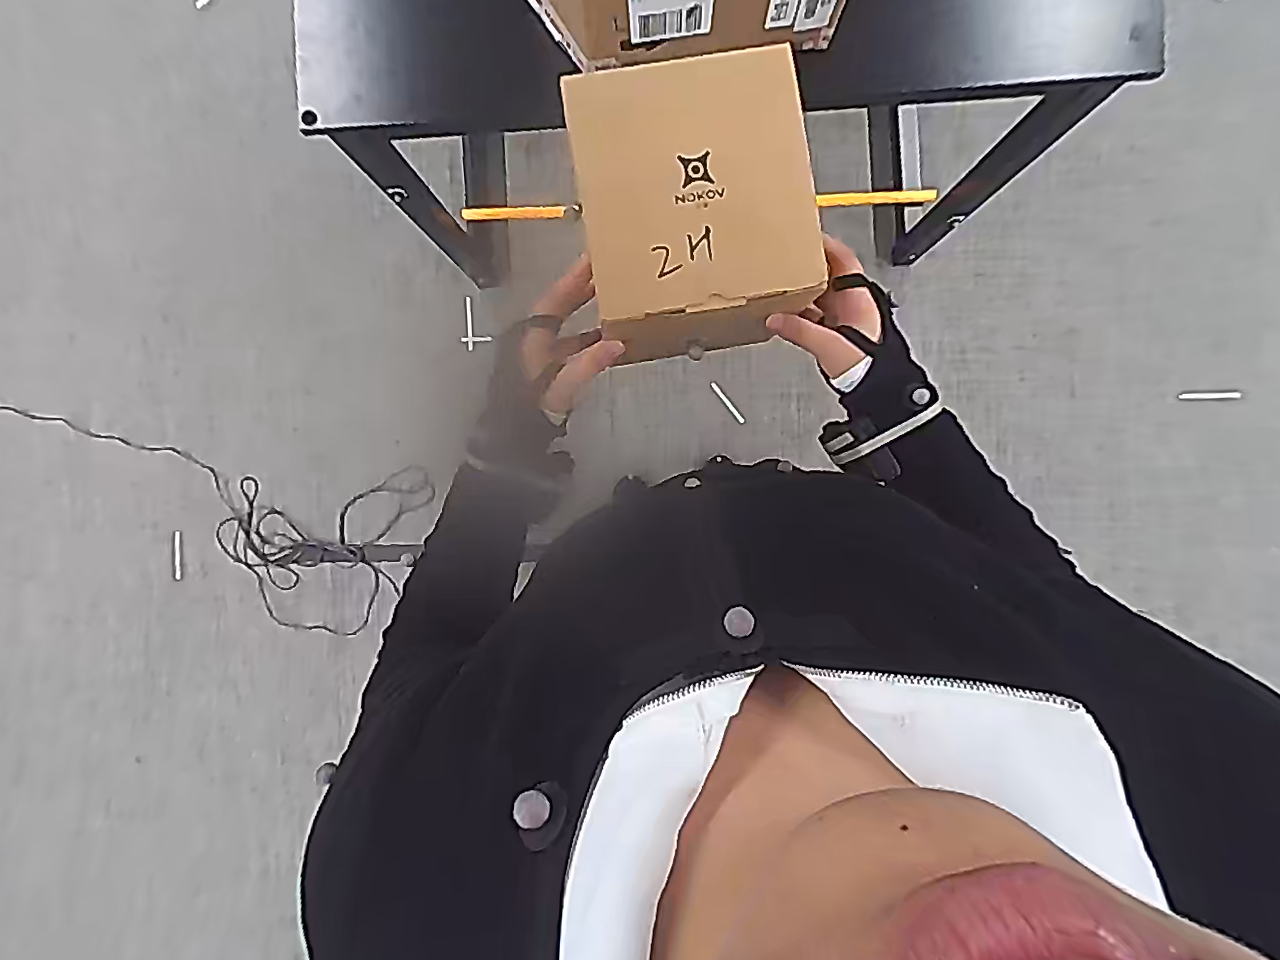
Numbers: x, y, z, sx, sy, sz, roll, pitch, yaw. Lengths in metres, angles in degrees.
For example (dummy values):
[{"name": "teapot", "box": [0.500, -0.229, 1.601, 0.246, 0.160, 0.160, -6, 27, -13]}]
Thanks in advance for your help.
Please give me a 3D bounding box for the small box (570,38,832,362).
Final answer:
[{"name": "small box", "box": [0.039, -0.213, 0.456, 0.168, 0.176, 0.179, -9, 91, -1]}]
